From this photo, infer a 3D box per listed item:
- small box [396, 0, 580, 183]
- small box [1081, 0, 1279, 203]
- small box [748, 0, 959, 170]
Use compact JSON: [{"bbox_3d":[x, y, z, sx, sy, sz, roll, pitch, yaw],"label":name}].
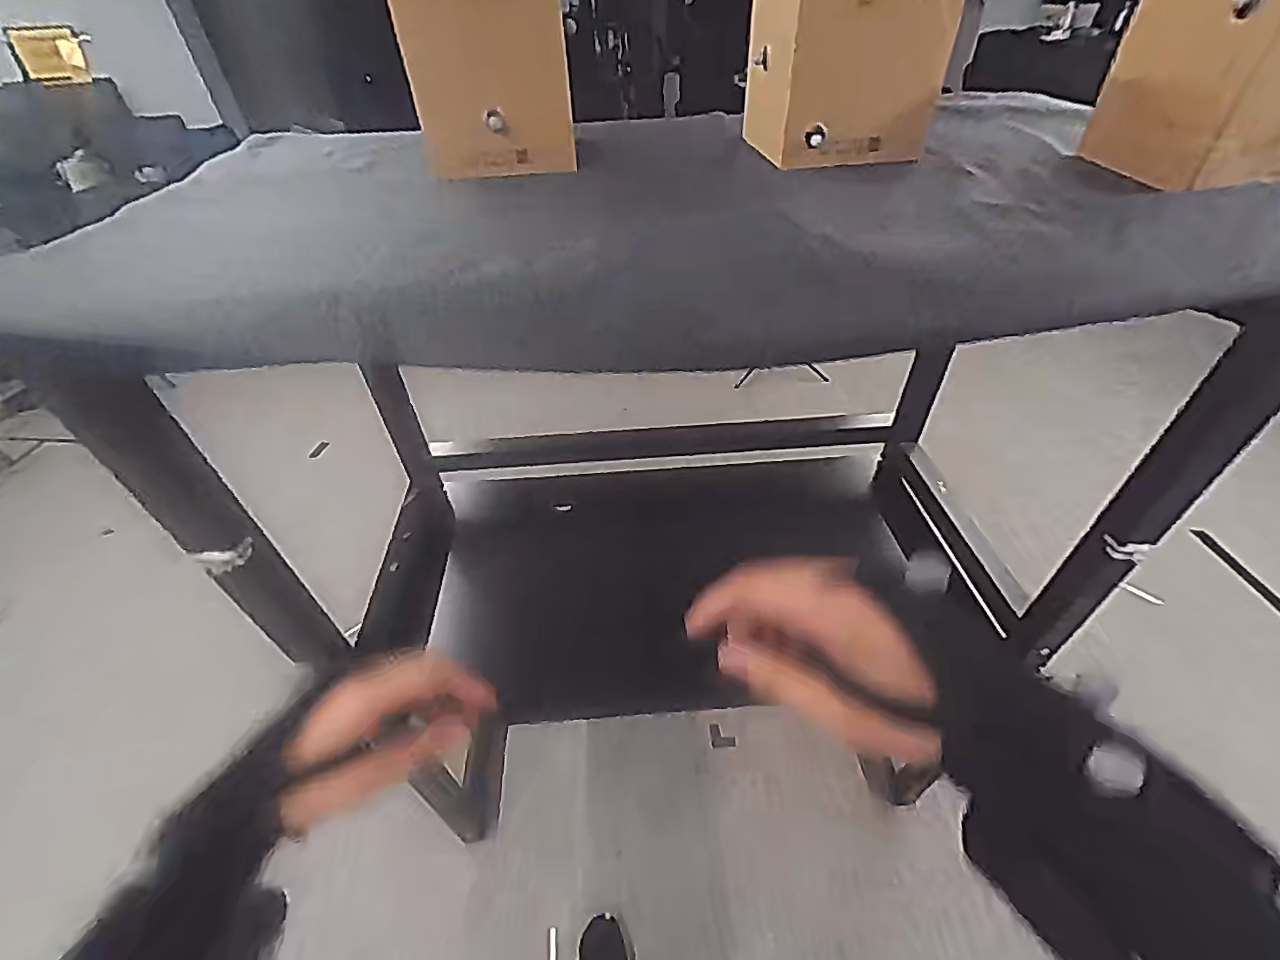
[{"bbox_3d":[-0.163,-0.465,0.639,0.168,0.176,0.179,-6,43,-4],"label":"small box"},{"bbox_3d":[0.564,-0.364,0.491,0.168,0.176,0.179,-1,42,2],"label":"small box"},{"bbox_3d":[0.229,-0.466,0.621,0.168,0.176,0.179,-6,42,-3],"label":"small box"}]
